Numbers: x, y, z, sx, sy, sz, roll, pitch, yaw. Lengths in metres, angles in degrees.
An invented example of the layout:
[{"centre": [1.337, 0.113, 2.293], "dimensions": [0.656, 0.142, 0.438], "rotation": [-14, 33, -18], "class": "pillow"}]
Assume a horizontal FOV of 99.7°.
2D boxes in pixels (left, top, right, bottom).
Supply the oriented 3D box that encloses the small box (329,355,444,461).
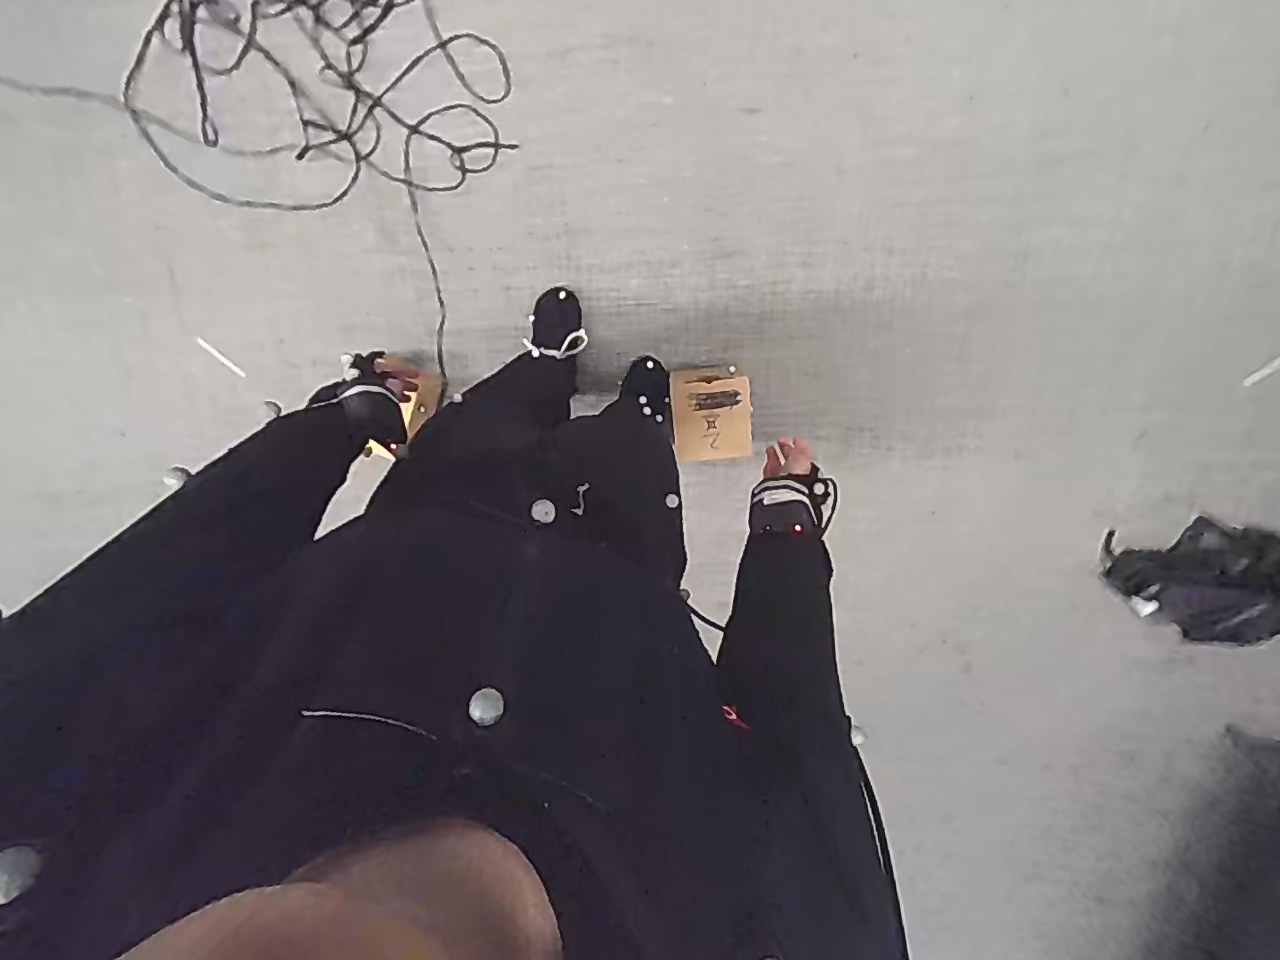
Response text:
[{"centre": [-0.586, -0.175, 1.267], "dimensions": [0.168, 0.176, 0.179], "rotation": [24, 109, -4], "class": "small box"}]
